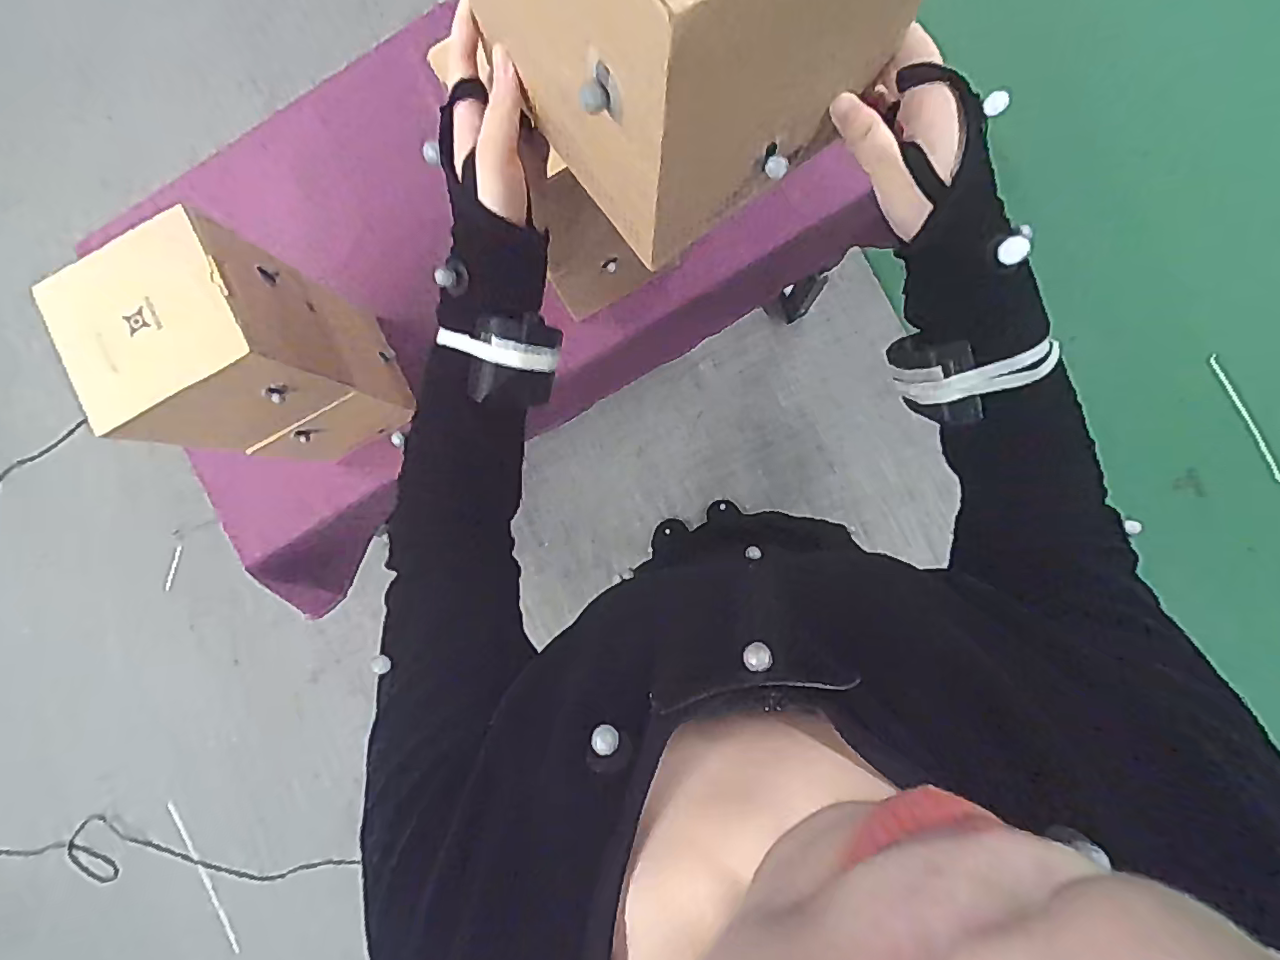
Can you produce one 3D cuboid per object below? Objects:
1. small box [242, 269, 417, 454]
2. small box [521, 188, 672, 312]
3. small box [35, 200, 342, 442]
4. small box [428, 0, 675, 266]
[{"bbox_3d":[-0.450,-0.150,0.752,0.168,0.176,0.179,-28,86,4],"label":"small box"},{"bbox_3d":[-0.067,-0.356,0.727,0.179,0.176,0.168,-28,87,3],"label":"small box"},{"bbox_3d":[-0.463,-0.155,0.589,0.179,0.176,0.168,-26,86,4],"label":"small box"},{"bbox_3d":[-0.077,-0.362,0.564,0.179,0.176,0.168,-29,87,4],"label":"small box"}]
